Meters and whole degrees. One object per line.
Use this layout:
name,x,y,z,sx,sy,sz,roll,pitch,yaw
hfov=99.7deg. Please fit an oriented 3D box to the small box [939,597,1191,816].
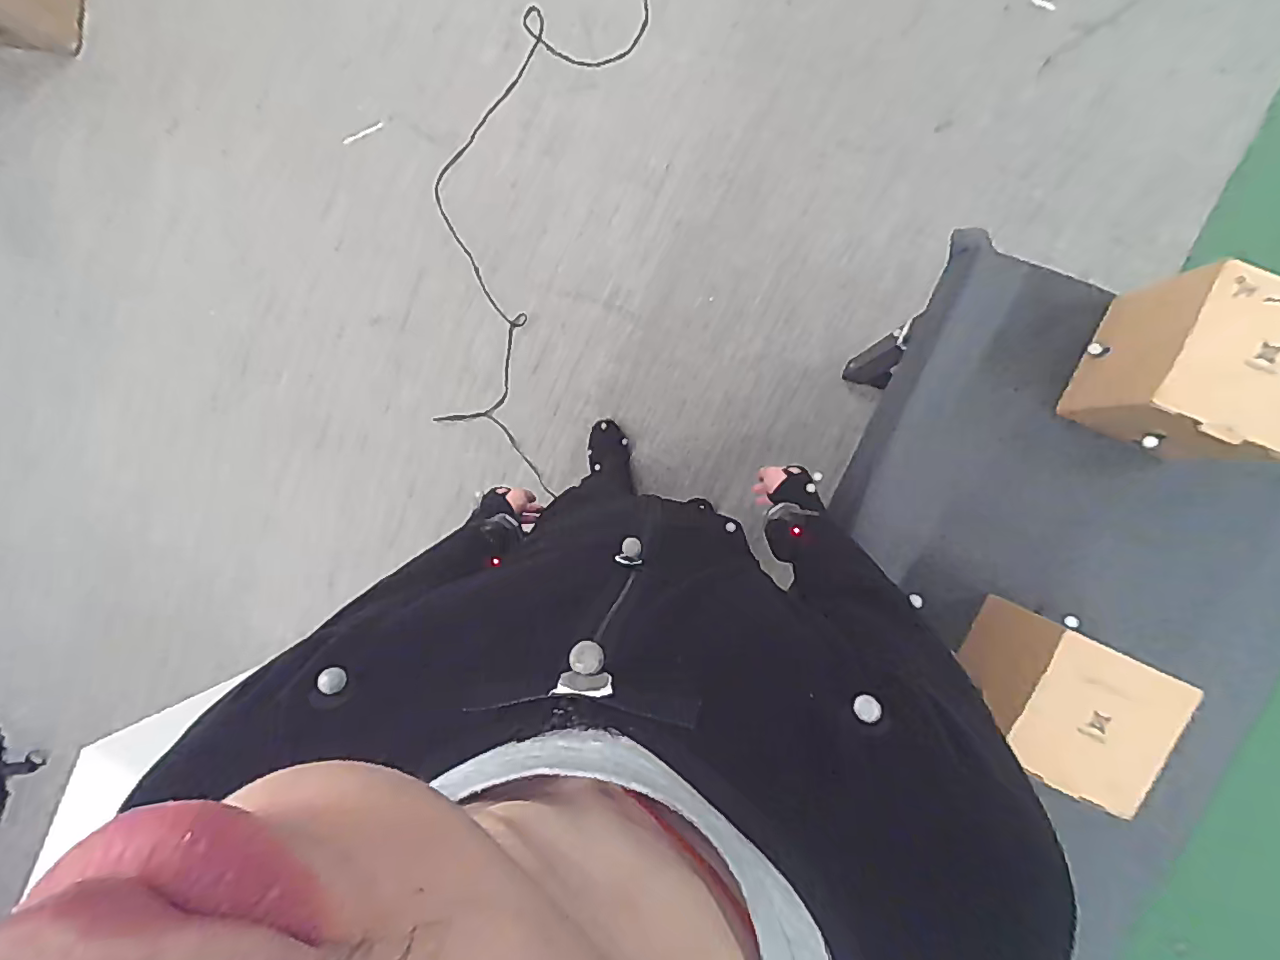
small box,0.529,0.278,0.706,0.168,0.176,0.179,25,93,2

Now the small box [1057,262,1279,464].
small box,0.678,-0.134,0.676,0.168,0.176,0.179,25,95,3
